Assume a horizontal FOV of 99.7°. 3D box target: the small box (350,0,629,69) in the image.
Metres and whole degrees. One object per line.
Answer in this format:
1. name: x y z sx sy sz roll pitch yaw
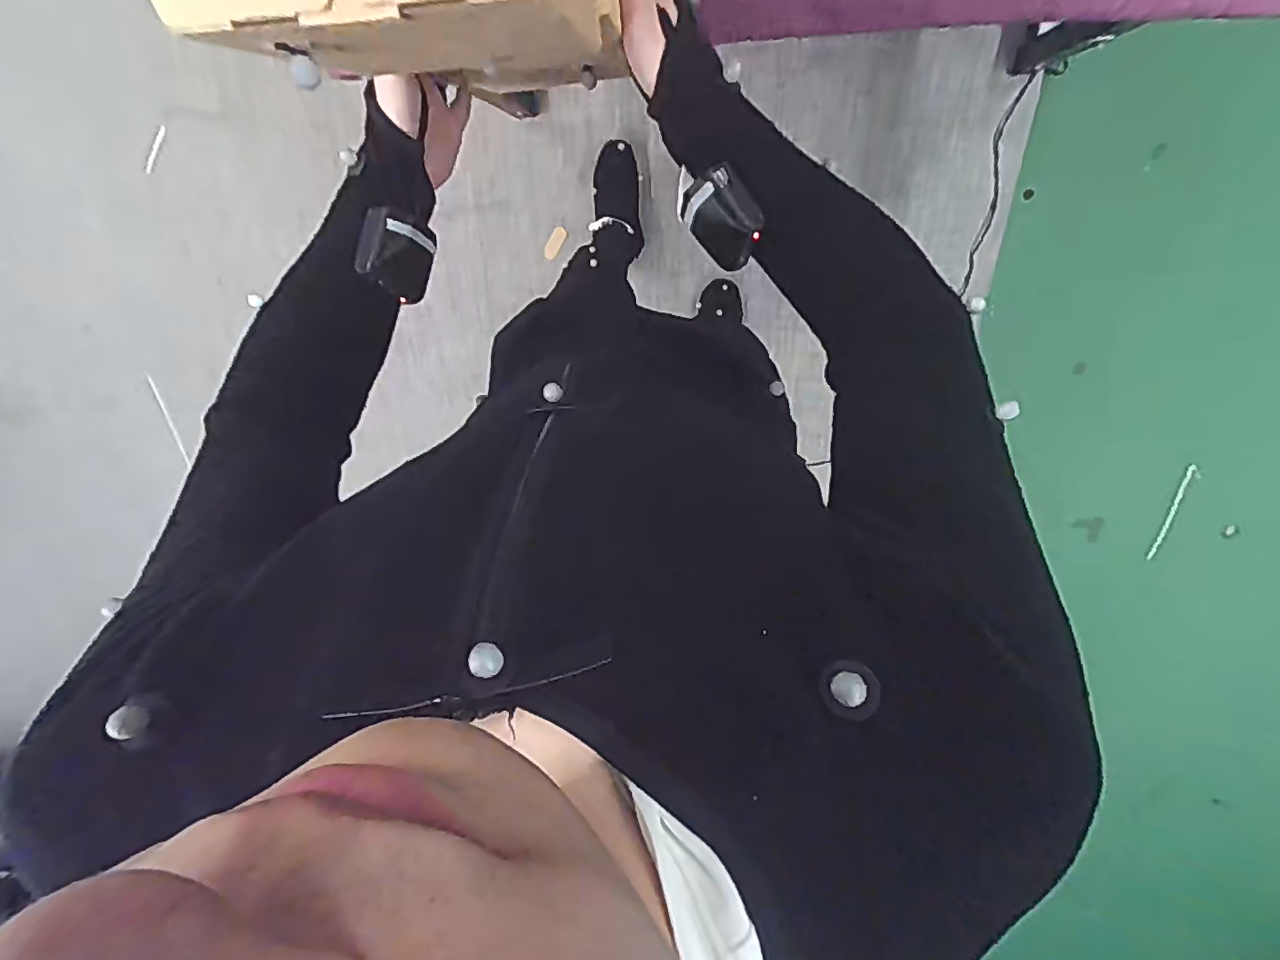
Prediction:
1. small box: -0.102 -0.405 0.379 0.179 0.176 0.168 -2 122 7

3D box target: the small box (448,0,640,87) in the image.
1. small box: -0.093 -0.490 0.517 0.179 0.176 0.168 -2 121 6
